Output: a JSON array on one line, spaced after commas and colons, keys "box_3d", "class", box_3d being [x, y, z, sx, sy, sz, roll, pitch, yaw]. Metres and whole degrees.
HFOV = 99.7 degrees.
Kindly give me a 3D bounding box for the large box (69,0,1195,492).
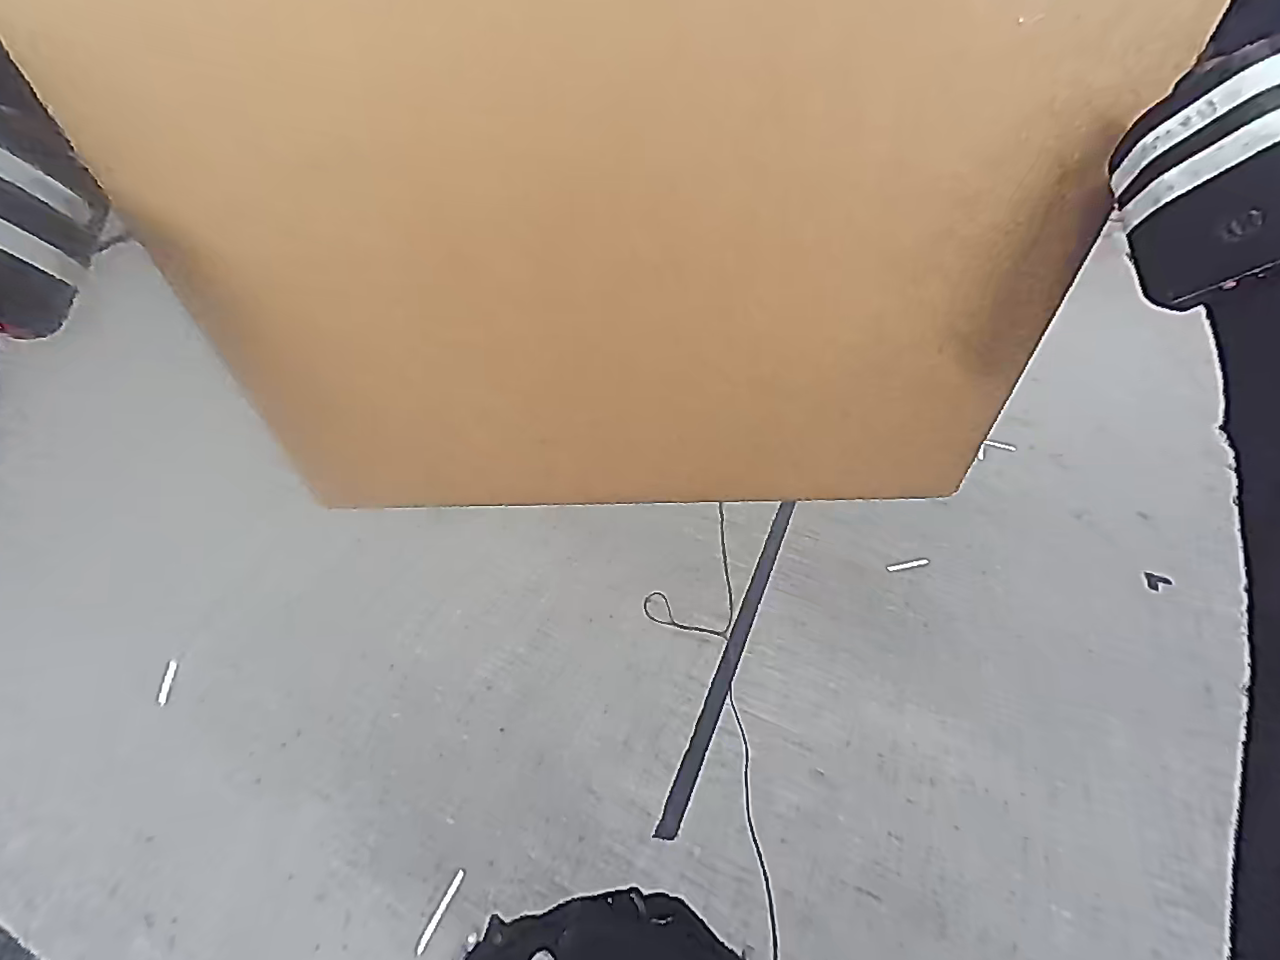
[{"box_3d": [-0.003, -0.205, 0.355, 0.408, 0.320, 0.320, 0, 45, 1], "class": "large box"}]
